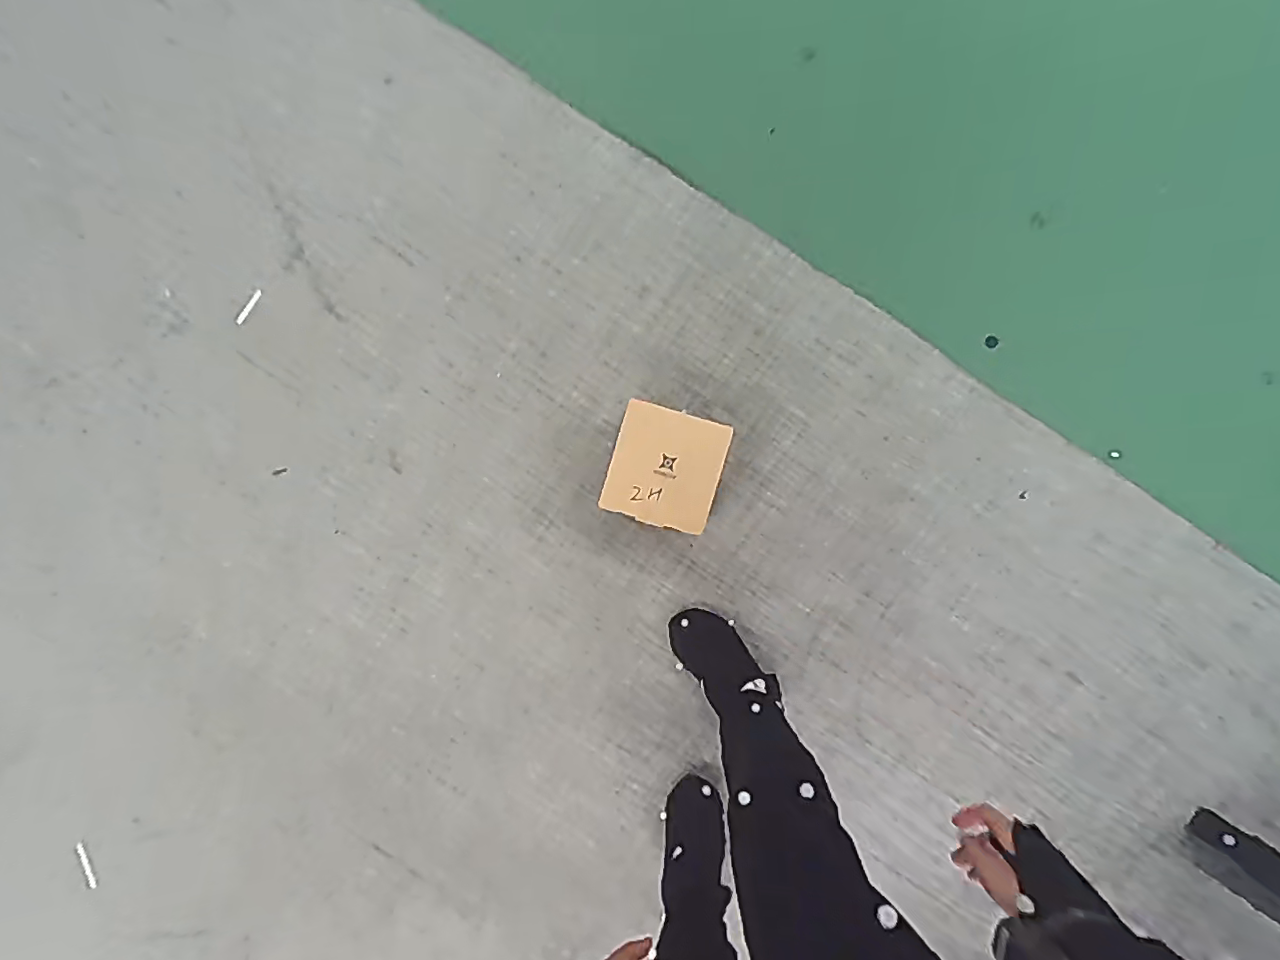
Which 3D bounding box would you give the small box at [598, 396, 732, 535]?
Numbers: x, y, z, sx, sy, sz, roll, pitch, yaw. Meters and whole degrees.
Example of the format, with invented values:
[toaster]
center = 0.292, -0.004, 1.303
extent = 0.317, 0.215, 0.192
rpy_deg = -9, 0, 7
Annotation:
[small box]
center = 0.038, -0.024, 0.897
extent = 0.168, 0.176, 0.179
rpy_deg = 17, 92, 1
